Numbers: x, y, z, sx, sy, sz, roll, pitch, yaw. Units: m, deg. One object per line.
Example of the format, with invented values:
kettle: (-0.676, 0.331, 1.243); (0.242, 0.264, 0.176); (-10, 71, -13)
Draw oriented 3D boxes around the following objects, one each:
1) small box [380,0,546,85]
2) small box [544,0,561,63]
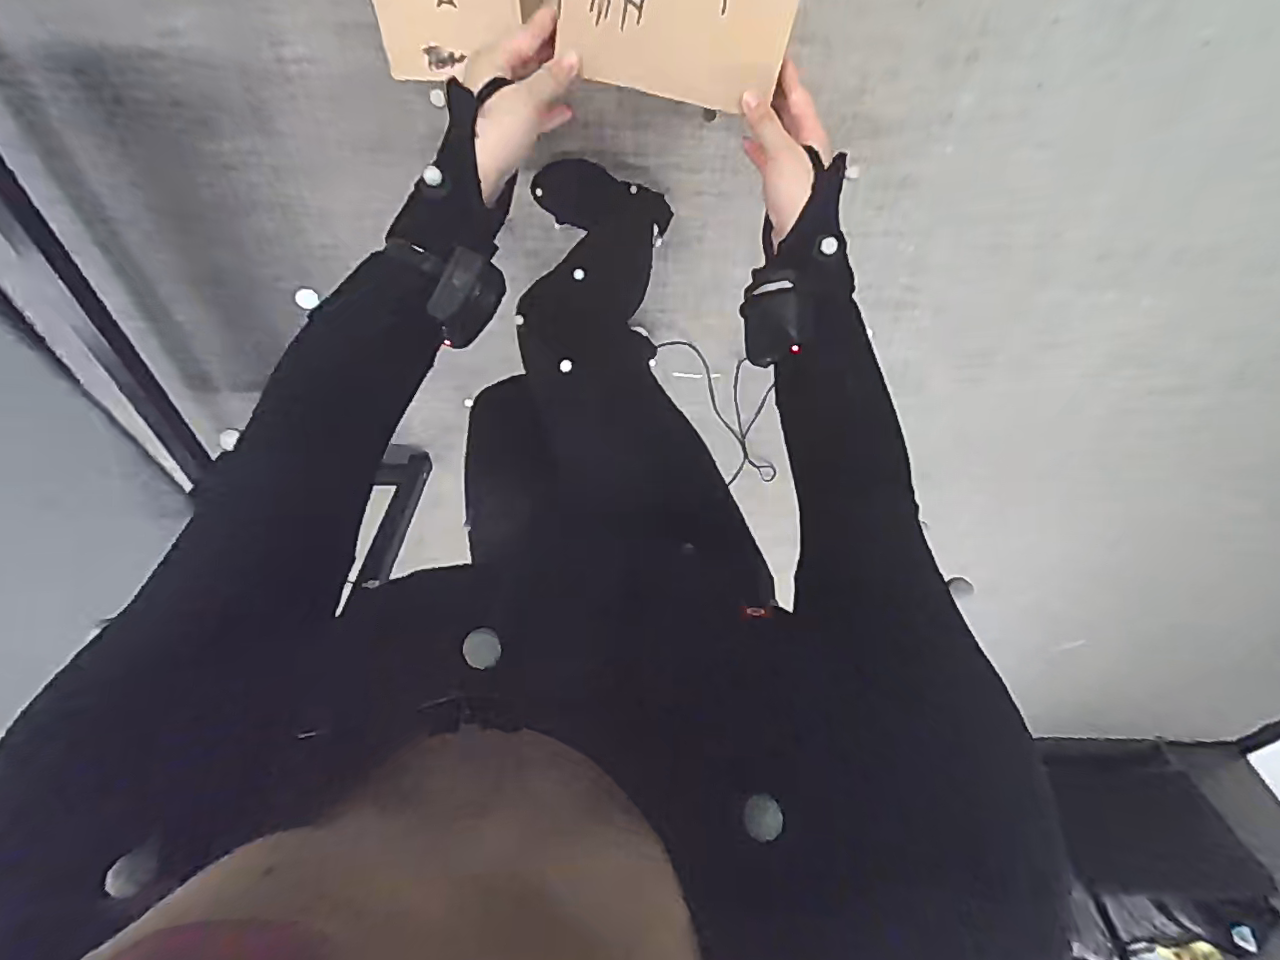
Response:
small box: (-0.207, -0.595, 0.645); (0.168, 0.176, 0.179); (1, 134, -2)
small box: (-0.209, -0.708, 0.766); (0.179, 0.176, 0.168); (1, 134, 1)
